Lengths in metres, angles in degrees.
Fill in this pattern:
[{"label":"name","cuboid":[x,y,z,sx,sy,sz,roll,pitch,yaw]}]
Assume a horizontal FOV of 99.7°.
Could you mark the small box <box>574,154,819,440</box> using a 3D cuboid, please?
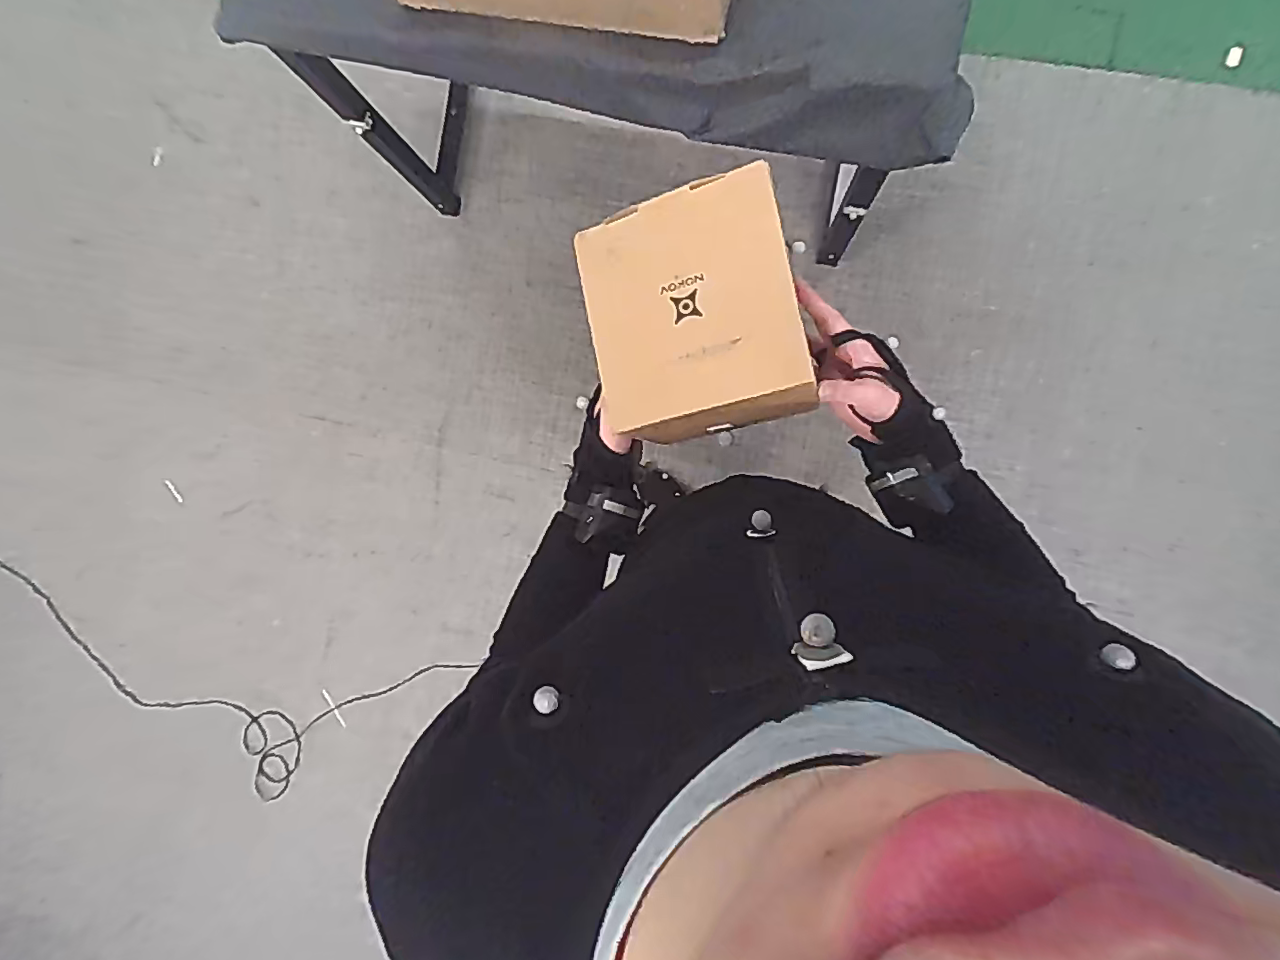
[{"label":"small box","cuboid":[0.061,-0.142,0.494,0.168,0.176,0.179,-13,86,19]}]
